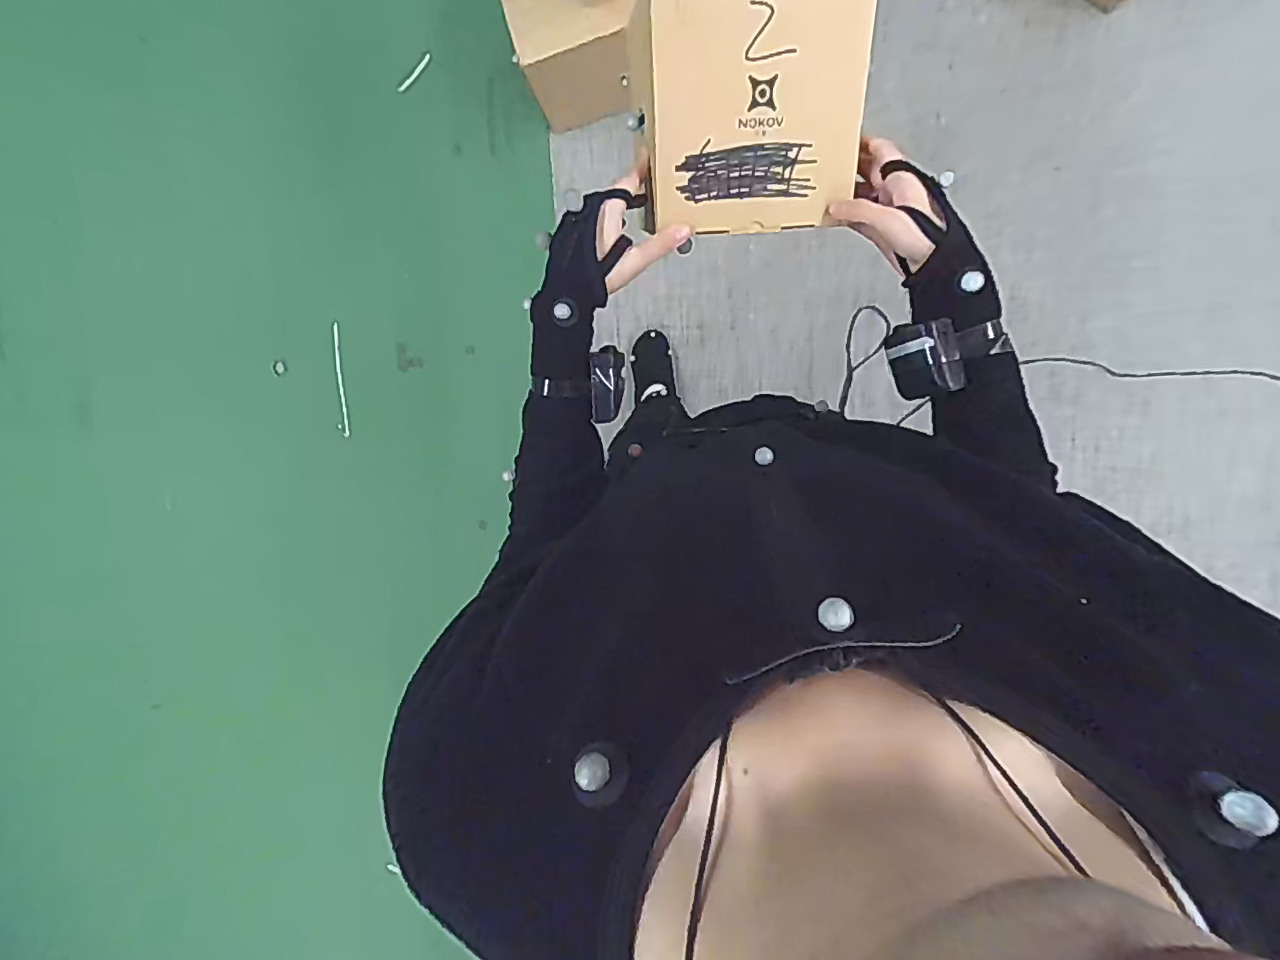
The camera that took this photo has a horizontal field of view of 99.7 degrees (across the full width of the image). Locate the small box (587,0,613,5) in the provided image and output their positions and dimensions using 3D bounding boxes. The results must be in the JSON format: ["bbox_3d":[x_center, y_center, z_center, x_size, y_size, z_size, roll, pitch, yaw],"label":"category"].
[{"bbox_3d":[-0.053,-1.001,0.959,0.168,0.176,0.179,-15,97,6],"label":"small box"}]

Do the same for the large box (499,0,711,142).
[{"bbox_3d":[-0.078,-1.040,1.202,0.408,0.320,0.320,-16,96,8],"label":"large box"}]
